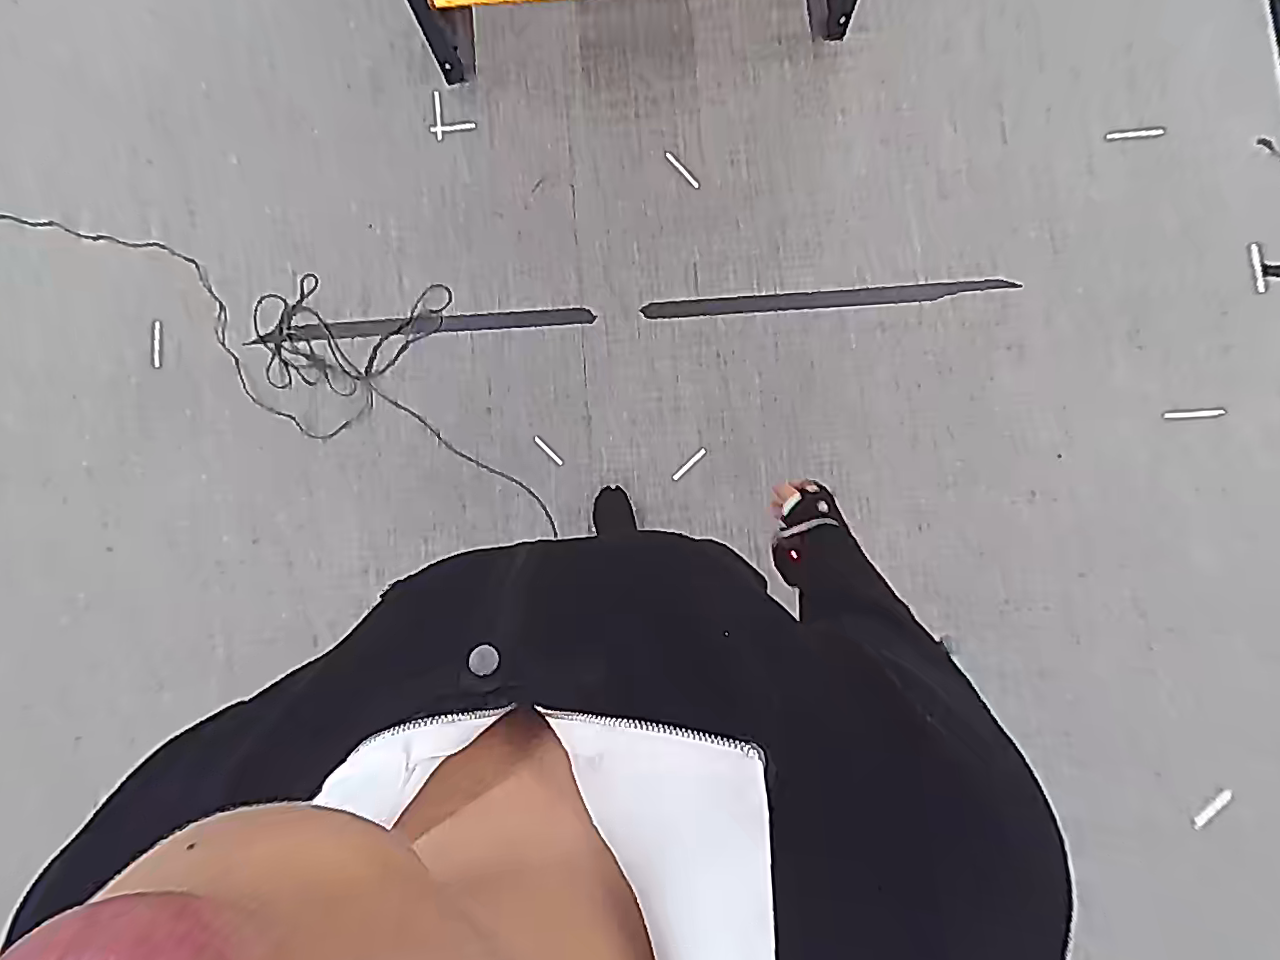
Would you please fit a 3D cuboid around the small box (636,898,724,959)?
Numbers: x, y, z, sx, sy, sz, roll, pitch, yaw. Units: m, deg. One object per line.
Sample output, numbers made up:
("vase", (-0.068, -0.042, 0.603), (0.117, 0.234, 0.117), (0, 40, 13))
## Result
("small box", (0.088, 1.006, 1.159), (0.179, 0.176, 0.168), (-8, 85, 2))
